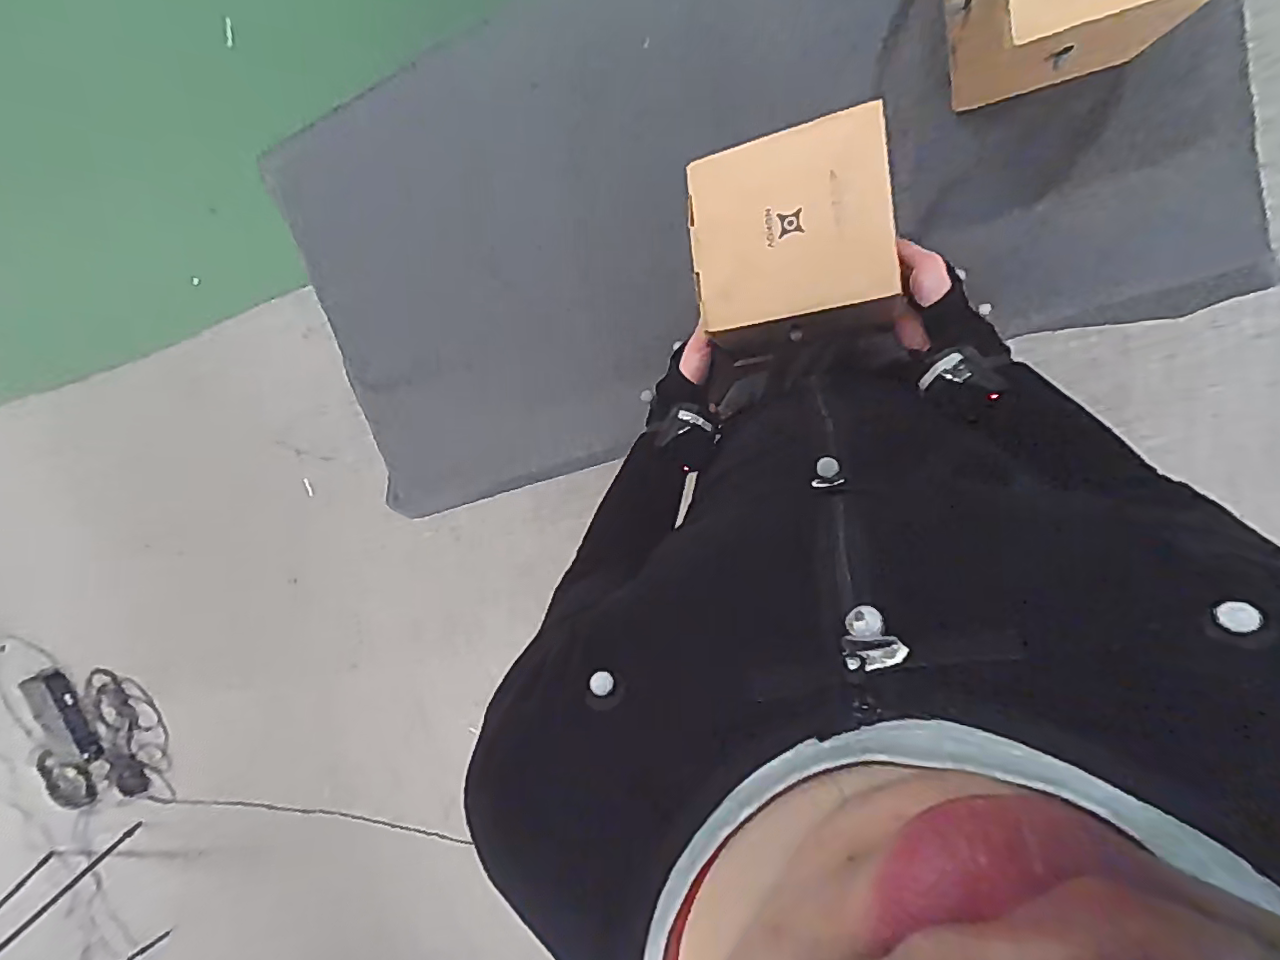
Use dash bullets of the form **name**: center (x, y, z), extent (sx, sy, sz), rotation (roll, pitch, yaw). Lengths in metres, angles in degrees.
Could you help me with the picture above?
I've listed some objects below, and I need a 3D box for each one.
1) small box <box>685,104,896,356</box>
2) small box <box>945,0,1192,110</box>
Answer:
- **small box**: center (0.160, -0.234, 0.562), extent (0.179, 0.176, 0.168), rotation (-6, 92, 21)
- **small box**: center (0.410, -0.498, 0.525), extent (0.179, 0.176, 0.168), rotation (-8, 104, 17)
